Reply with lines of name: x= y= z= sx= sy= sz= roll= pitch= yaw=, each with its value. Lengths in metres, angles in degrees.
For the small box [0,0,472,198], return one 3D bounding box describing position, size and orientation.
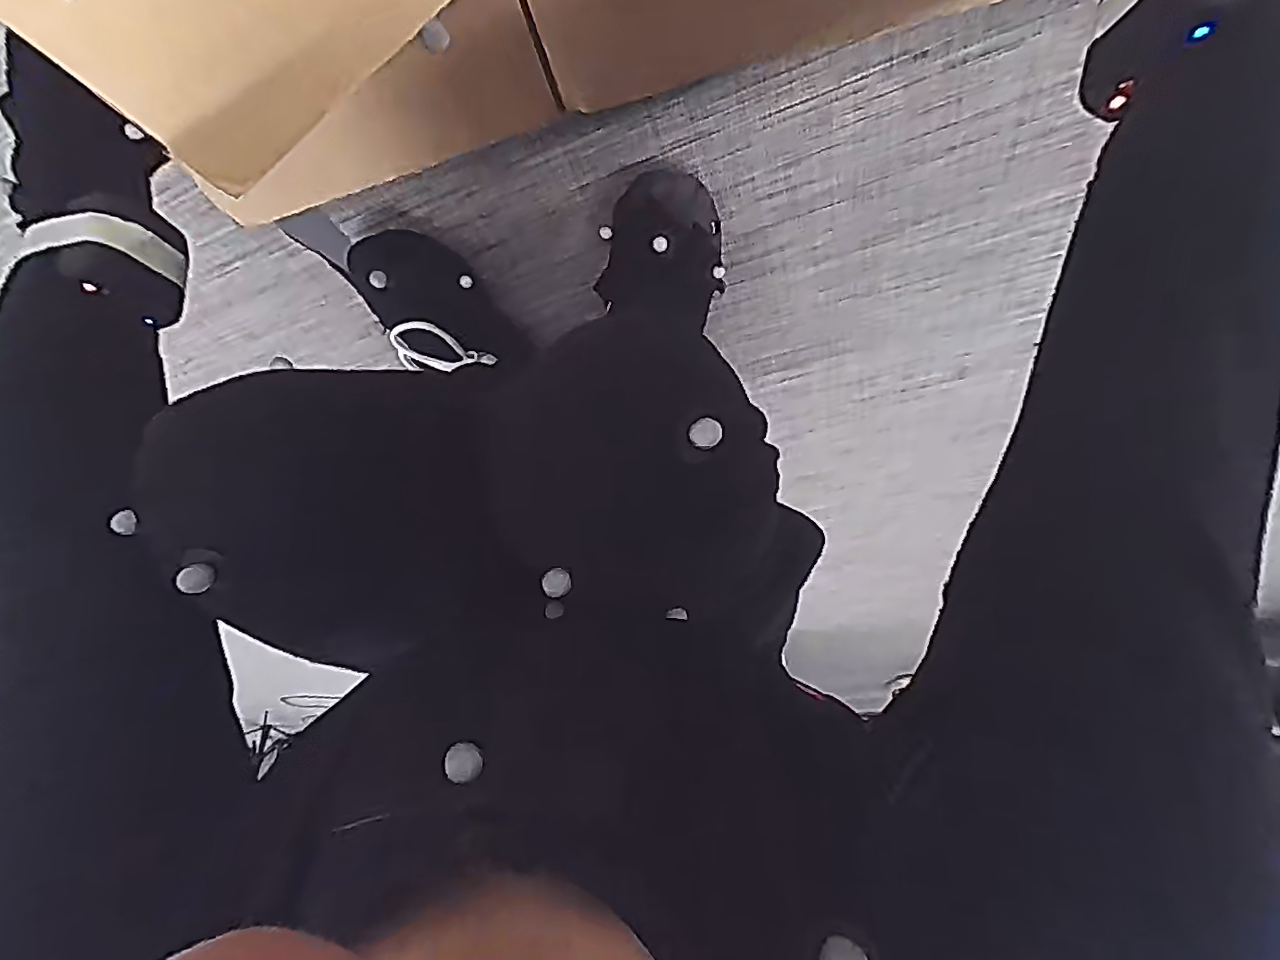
small box: x=-0.181 y=-0.277 z=0.233 sx=0.179 sy=0.176 sz=0.168 roll=-22 pitch=144 yaw=21
